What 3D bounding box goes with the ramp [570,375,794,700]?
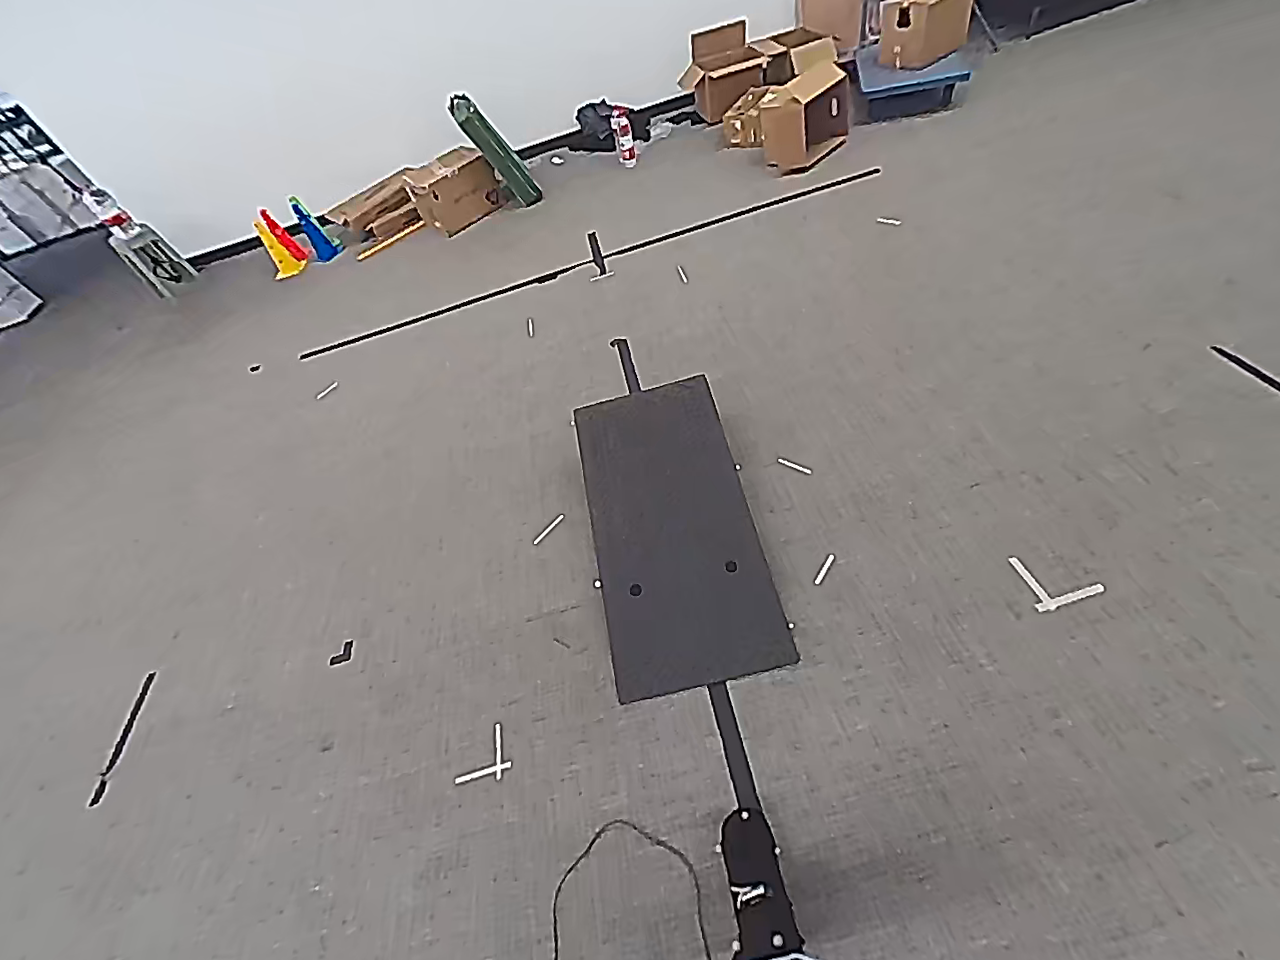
[{"bbox_3d":[0.081,0.110,1.677,0.509,0.206,0.991,-16,50,2],"label":"ramp"}]
